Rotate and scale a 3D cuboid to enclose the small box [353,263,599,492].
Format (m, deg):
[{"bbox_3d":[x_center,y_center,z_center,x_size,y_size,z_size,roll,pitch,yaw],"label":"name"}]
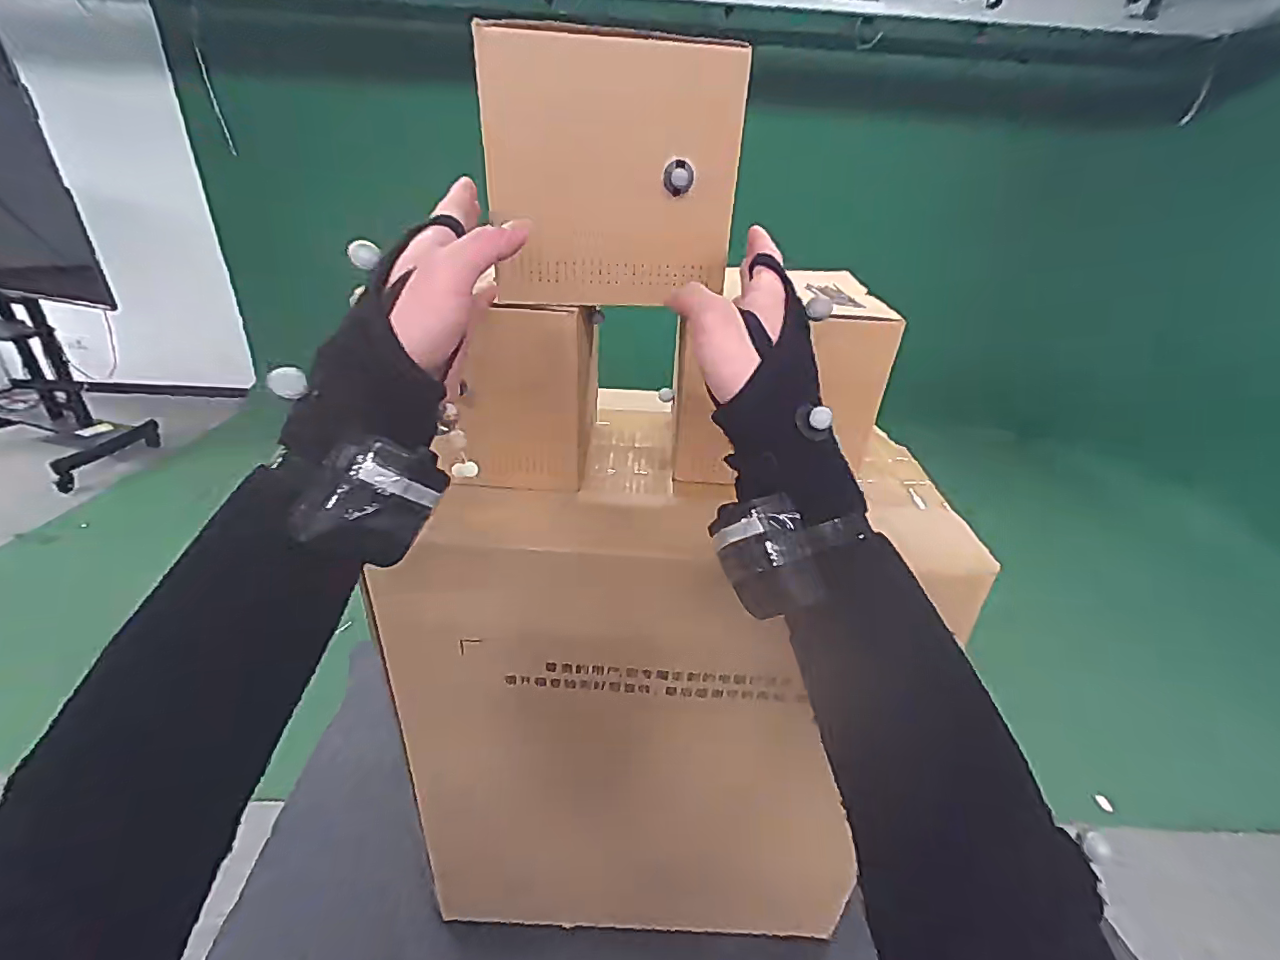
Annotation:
[{"bbox_3d":[-0.136,-0.102,0.522,0.179,0.176,0.168,4,33,0],"label":"small box"}]

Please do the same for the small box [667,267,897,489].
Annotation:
[{"bbox_3d":[0.121,-0.104,0.541,0.179,0.176,0.168,3,33,1],"label":"small box"}]

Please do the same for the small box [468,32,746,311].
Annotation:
[{"bbox_3d":[-0.031,-0.240,0.442,0.179,0.176,0.168,-3,31,-8],"label":"small box"}]
